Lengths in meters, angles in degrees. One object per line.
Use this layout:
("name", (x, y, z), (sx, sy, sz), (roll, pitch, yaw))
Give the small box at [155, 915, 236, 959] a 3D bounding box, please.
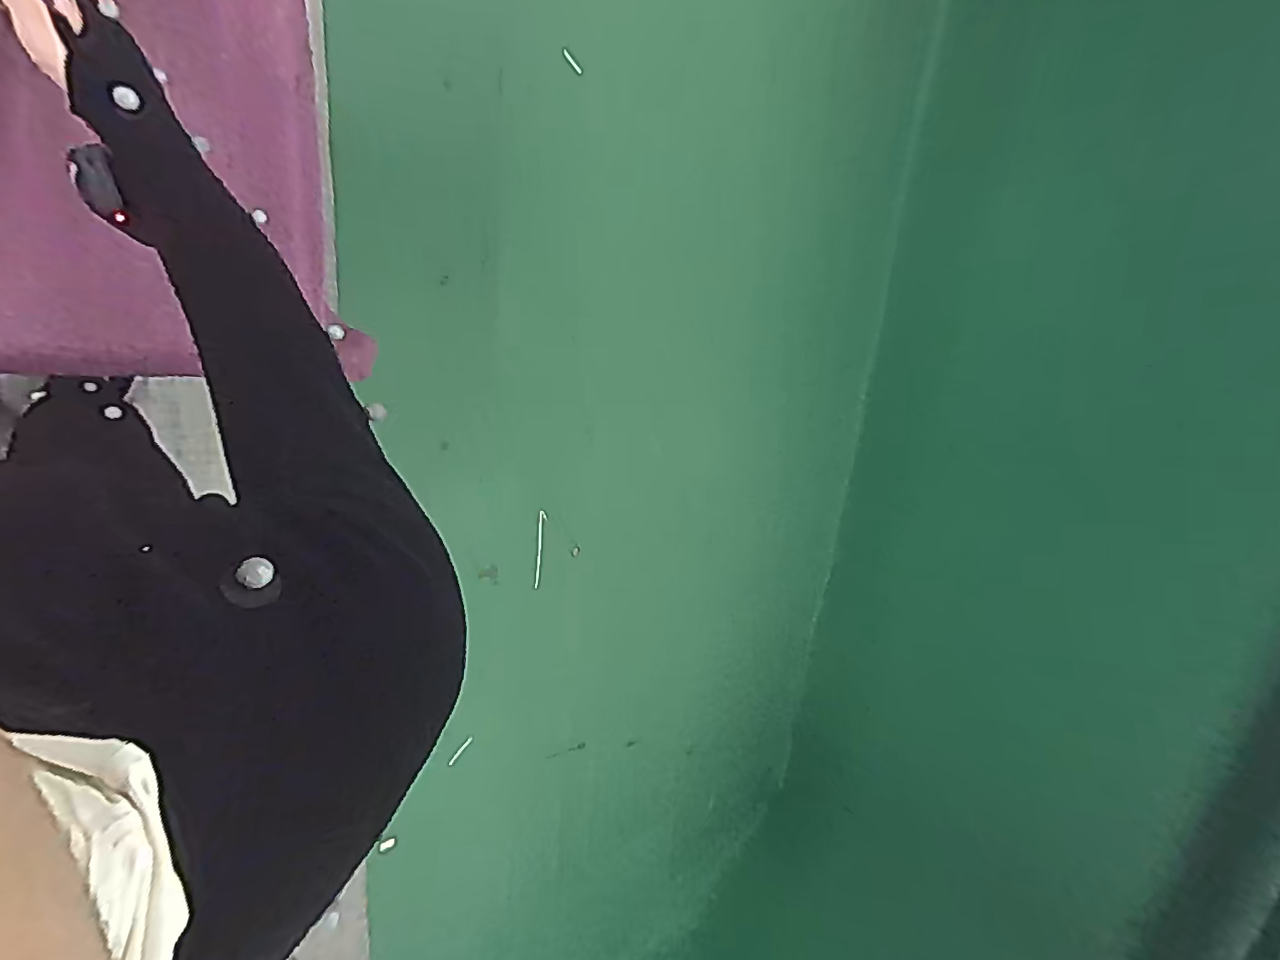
("small box", (-1.247, 1.399, 1.524), (0.168, 0.176, 0.179), (-8, 113, -43))
